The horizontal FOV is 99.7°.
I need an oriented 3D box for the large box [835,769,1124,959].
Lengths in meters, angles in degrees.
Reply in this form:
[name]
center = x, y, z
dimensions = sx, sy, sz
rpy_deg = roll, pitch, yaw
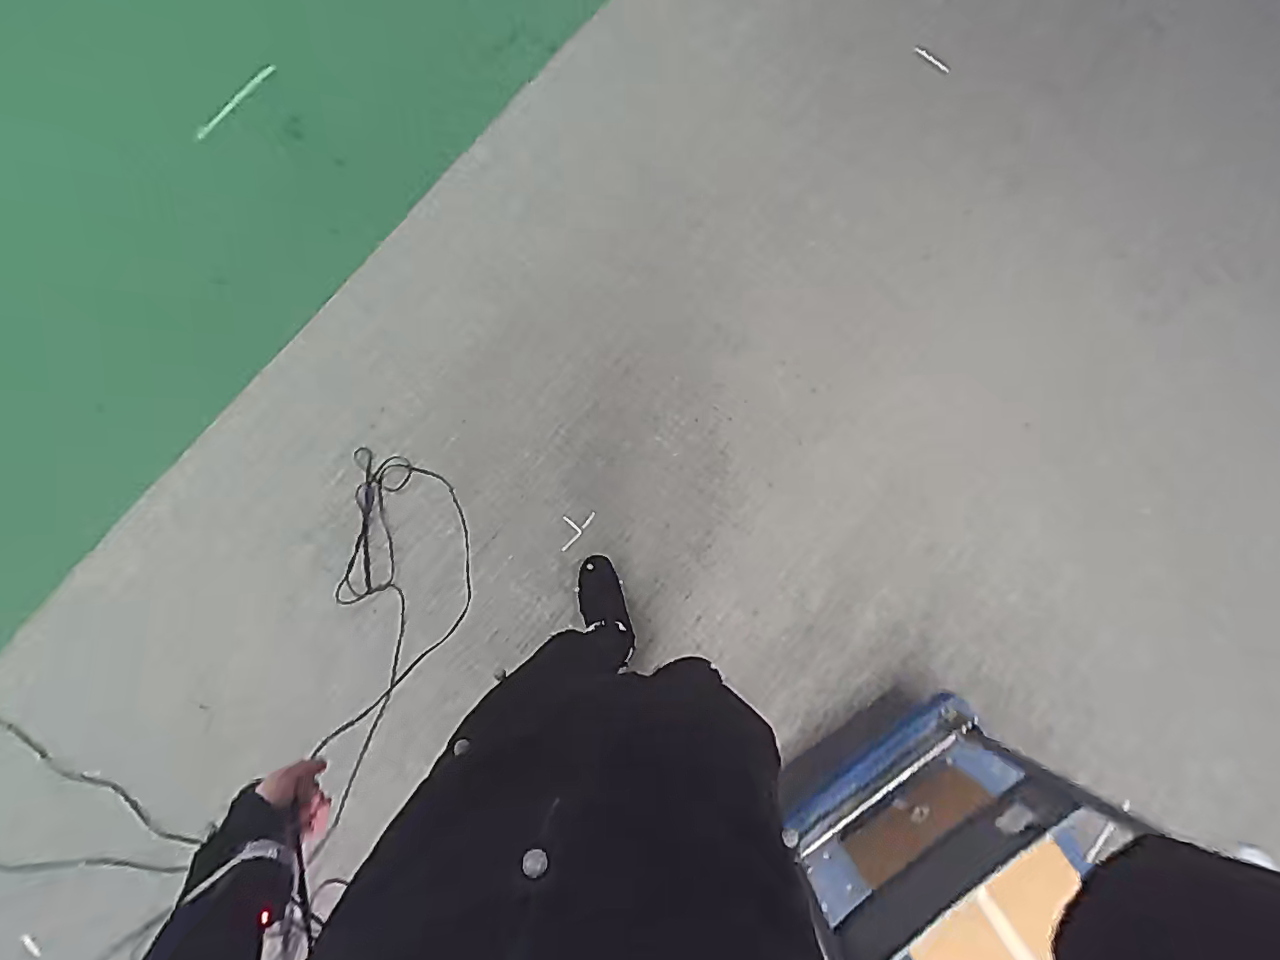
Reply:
[large box]
center = 0.665, 0.877, 1.053
dimensions = 0.320, 0.320, 0.408
rpy_deg = -33, 84, -3
